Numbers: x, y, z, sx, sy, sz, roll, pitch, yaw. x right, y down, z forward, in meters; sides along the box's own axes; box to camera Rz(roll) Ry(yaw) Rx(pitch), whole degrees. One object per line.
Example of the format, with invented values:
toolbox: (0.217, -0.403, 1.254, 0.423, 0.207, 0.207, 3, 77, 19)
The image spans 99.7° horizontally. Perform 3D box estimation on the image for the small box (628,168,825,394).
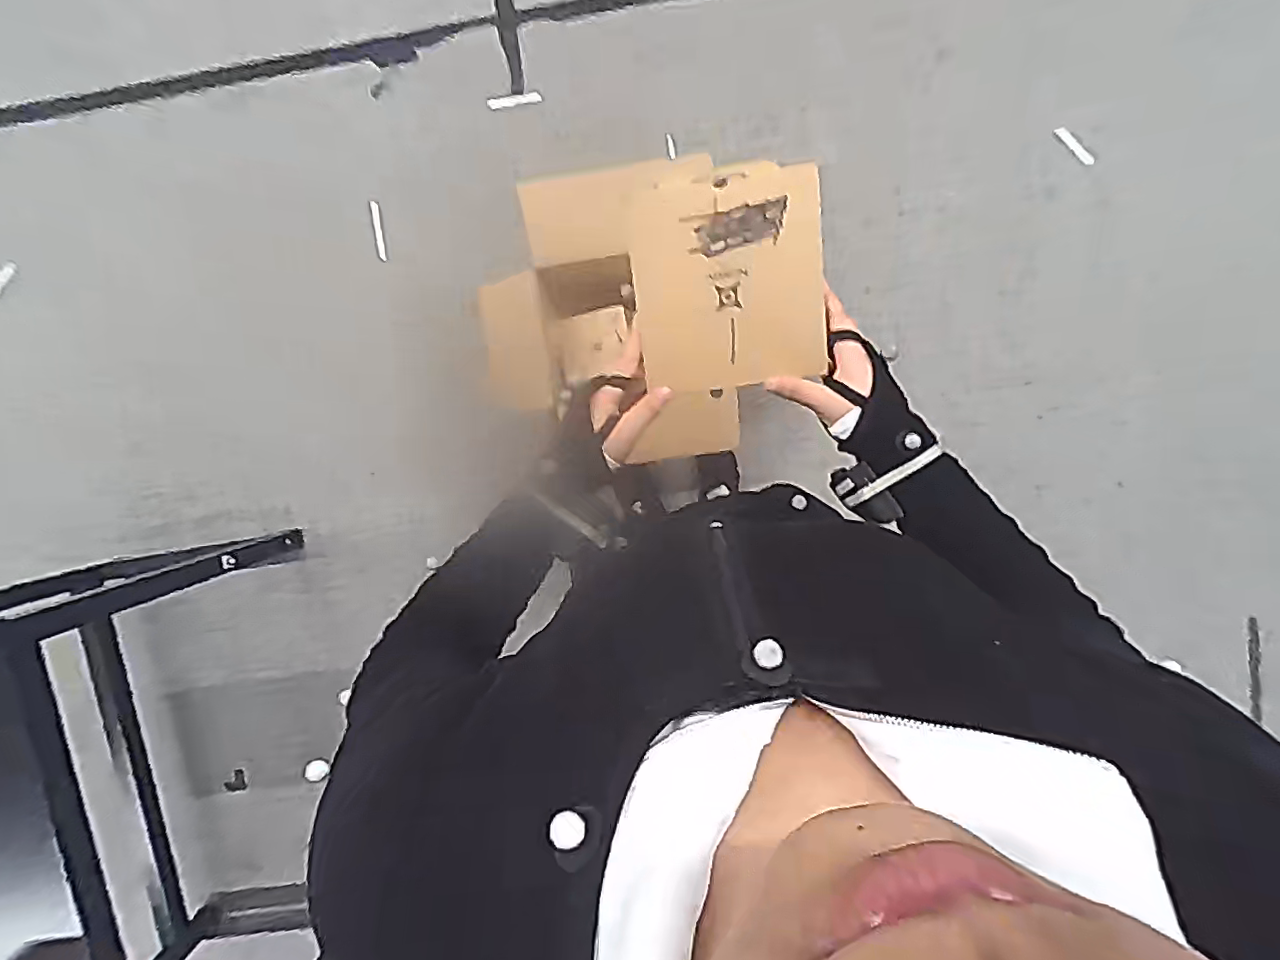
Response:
small box: (0.078, -0.186, 0.551, 0.168, 0.176, 0.179, -7, 103, 2)
